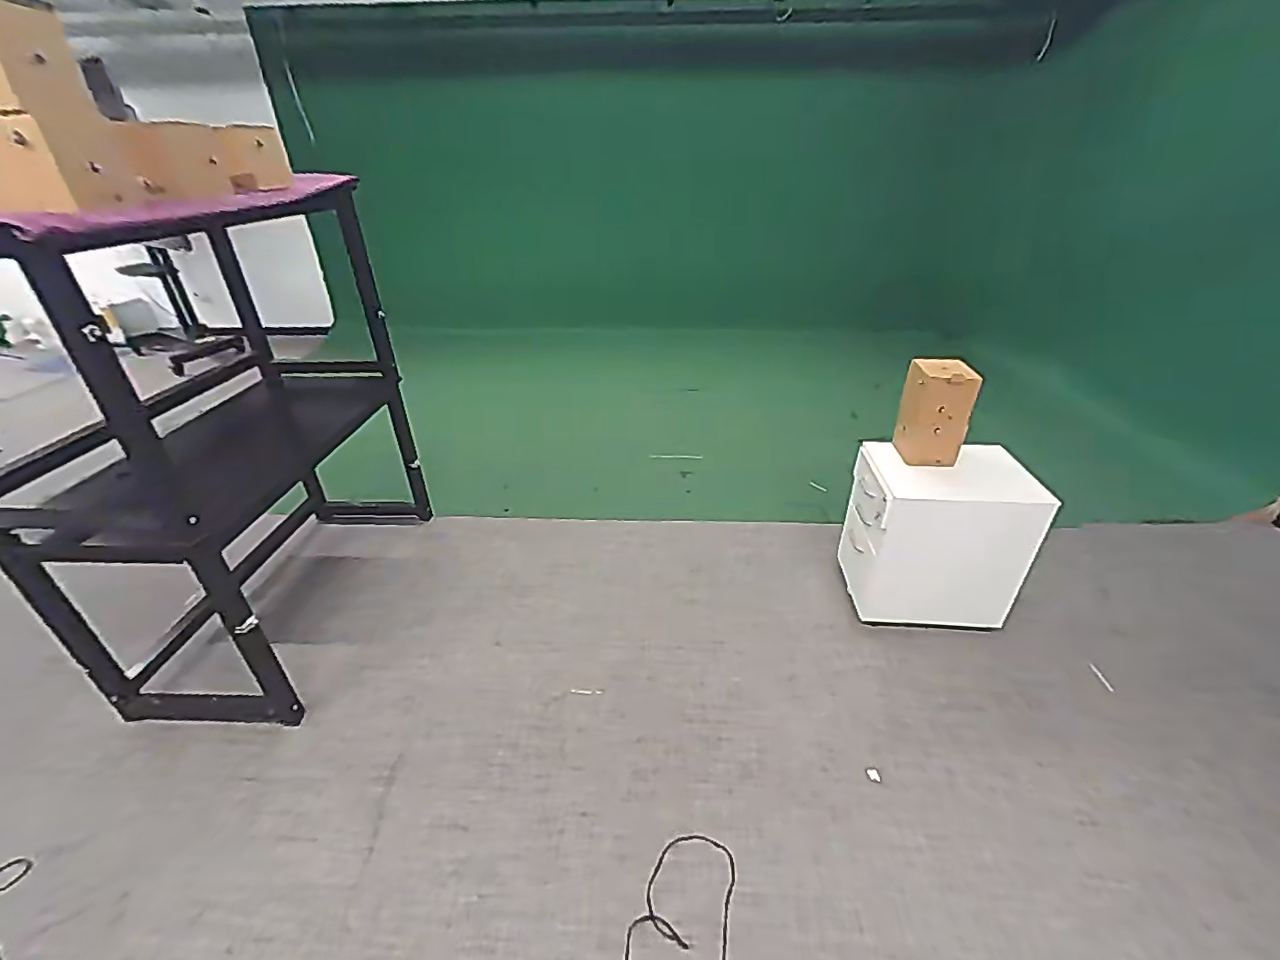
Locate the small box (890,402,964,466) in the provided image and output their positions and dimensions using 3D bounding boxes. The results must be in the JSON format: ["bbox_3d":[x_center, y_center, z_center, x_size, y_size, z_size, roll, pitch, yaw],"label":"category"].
[{"bbox_3d":[1.017,-0.168,1.934,0.168,0.176,0.179,2,32,3],"label":"small box"}]

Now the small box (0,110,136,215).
[{"bbox_3d":[-1.185,-0.633,1.082,0.179,0.176,0.168,0,30,0],"label":"small box"}]

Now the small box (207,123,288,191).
[{"bbox_3d":[-1.222,-0.981,1.648,0.168,0.176,0.179,-1,32,5],"label":"small box"}]

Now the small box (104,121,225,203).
[{"bbox_3d":[-1.206,-0.809,1.375,0.168,0.176,0.179,-1,33,1],"label":"small box"}]

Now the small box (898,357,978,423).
[{"bbox_3d":[1.010,-0.308,1.851,0.168,0.176,0.179,2,33,3],"label":"small box"}]
